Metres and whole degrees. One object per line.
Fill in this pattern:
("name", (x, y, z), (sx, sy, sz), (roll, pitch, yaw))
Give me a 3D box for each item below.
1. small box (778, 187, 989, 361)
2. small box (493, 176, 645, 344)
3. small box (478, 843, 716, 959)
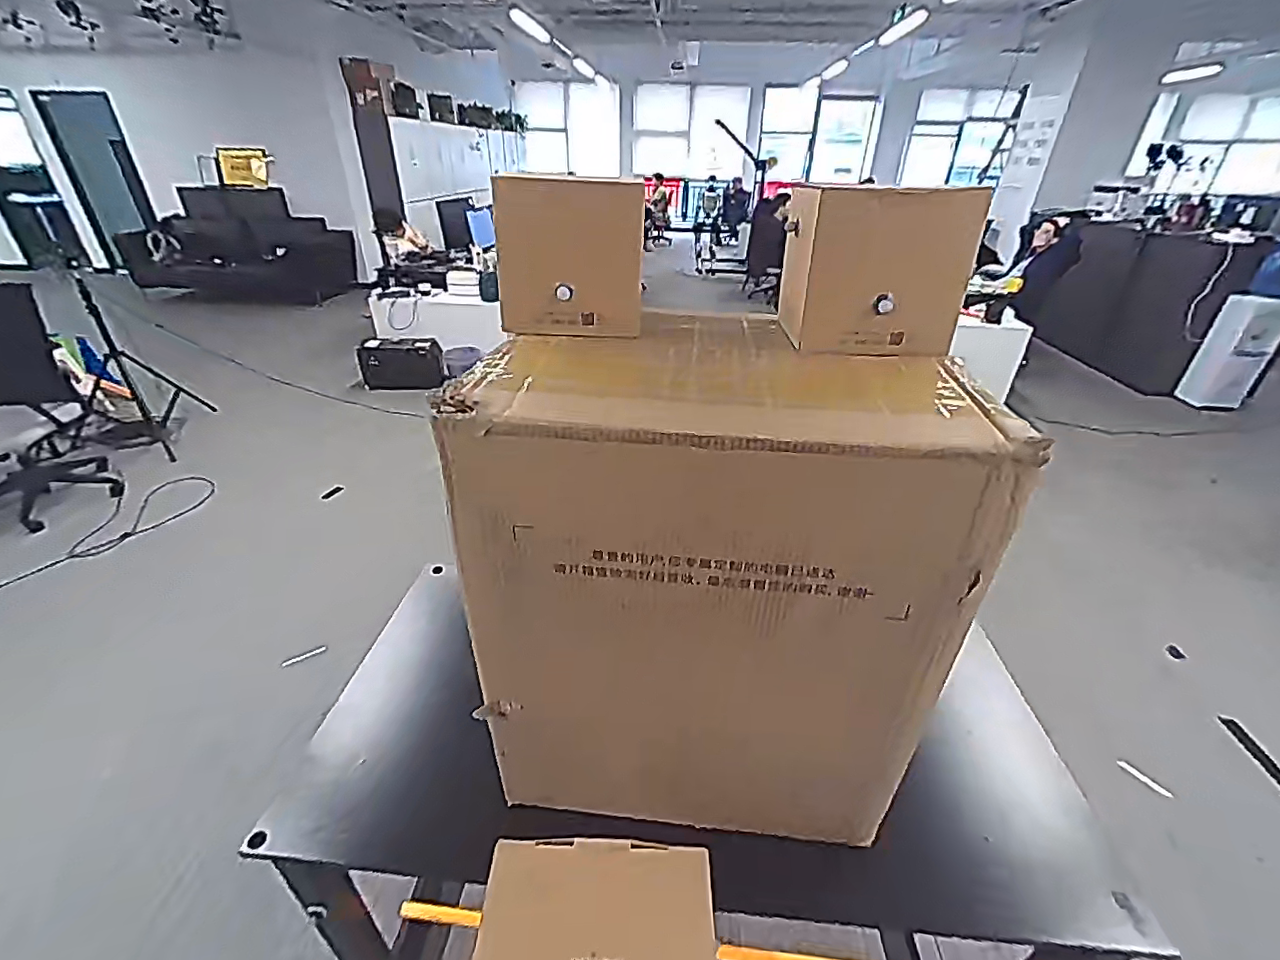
("small box", (0.265, -0.249, 0.642), (0.168, 0.176, 0.179), (2, 29, 4))
("small box", (-0.080, -0.281, 0.683), (0.168, 0.176, 0.179), (2, 30, -2))
("small box", (-0.034, 0.401, 0.400), (0.168, 0.176, 0.179), (2, 38, -2))
